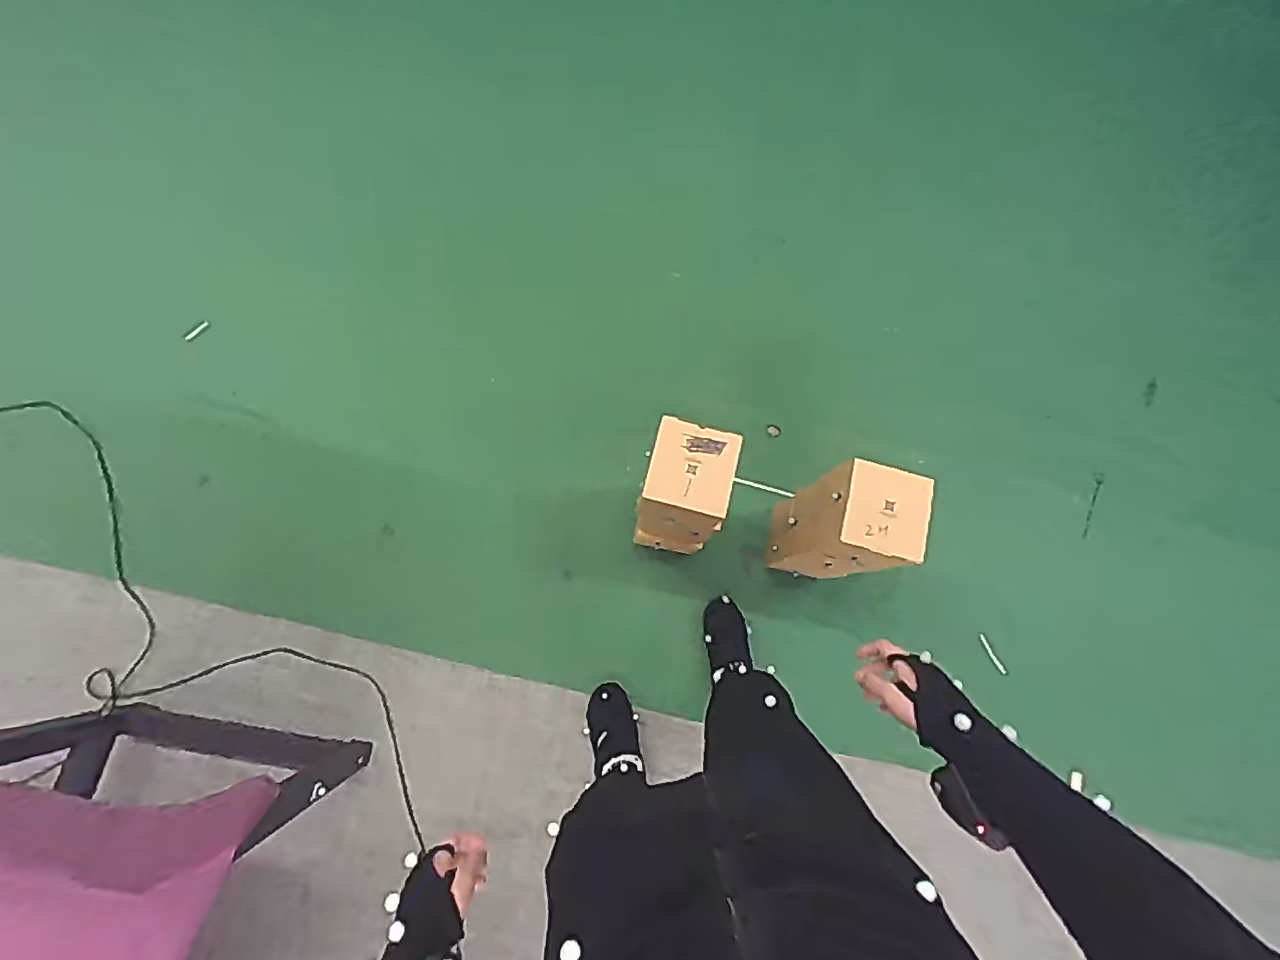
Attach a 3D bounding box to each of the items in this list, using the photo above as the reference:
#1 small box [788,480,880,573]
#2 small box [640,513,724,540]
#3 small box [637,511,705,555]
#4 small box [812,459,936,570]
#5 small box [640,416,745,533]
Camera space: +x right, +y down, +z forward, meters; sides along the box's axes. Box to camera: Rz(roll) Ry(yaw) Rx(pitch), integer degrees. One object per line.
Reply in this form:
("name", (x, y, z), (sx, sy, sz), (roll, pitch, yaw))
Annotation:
("small box", (0.466, 0.117, 1.279), (0.168, 0.176, 0.179), (15, 78, -2))
("small box", (0.104, 0.040, 1.272), (0.179, 0.176, 0.168), (11, 75, -1))
("small box", (0.089, 0.093, 1.425), (0.168, 0.176, 0.179), (12, 75, -1))
("small box", (0.476, 0.079, 1.119), (0.168, 0.176, 0.179), (16, 77, -1))
("small box", (0.101, -0.004, 1.113), (0.168, 0.176, 0.179), (15, 75, 0))
